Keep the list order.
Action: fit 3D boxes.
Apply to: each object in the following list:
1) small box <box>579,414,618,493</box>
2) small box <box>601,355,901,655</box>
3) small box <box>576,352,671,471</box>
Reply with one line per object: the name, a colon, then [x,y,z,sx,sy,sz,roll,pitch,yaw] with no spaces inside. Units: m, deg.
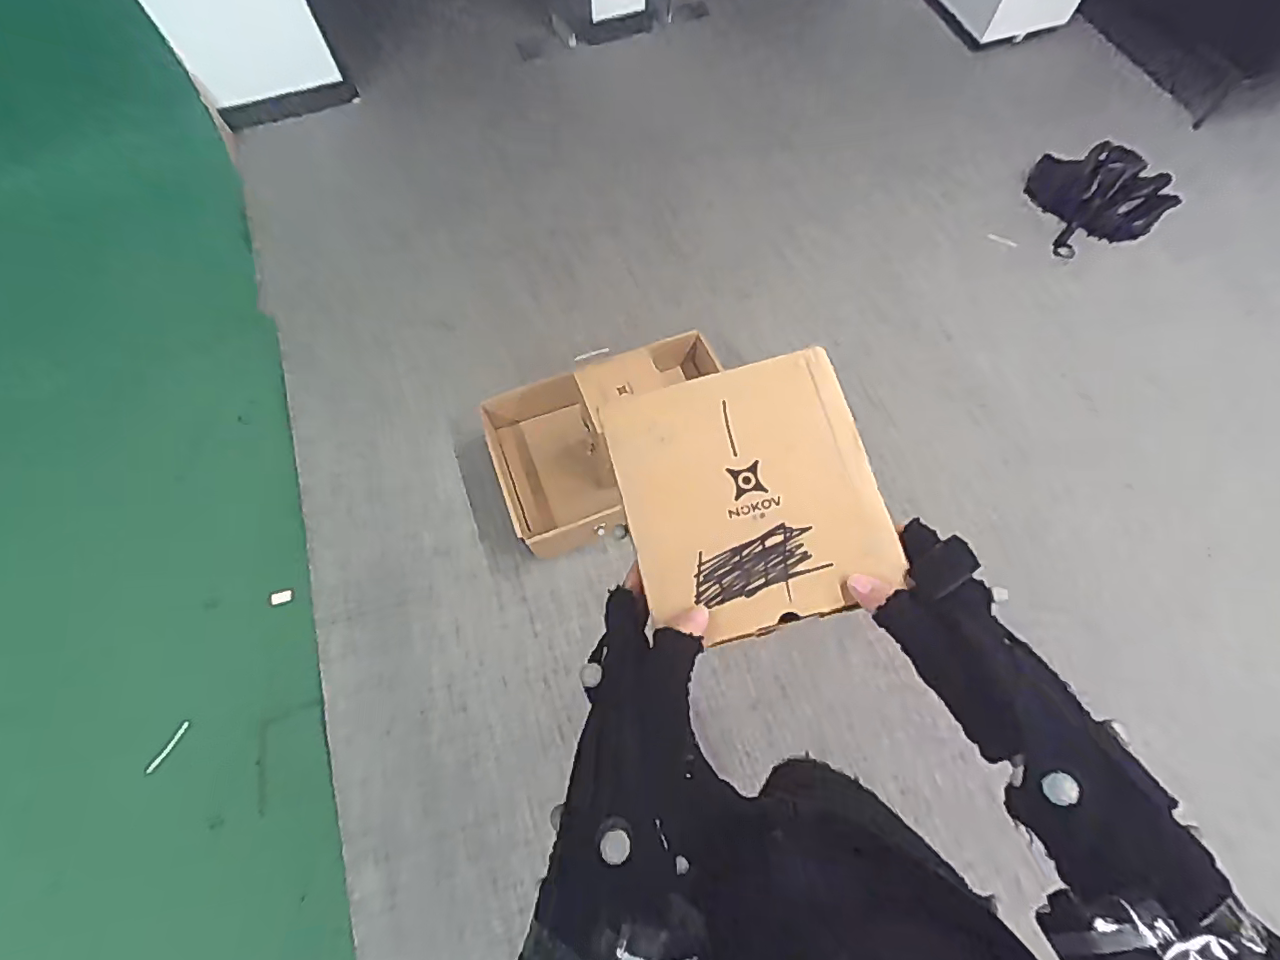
small box: [-0.037,-0.089,1.378,0.179,0.176,0.168,-22,67,-9]
small box: [0.075,0.029,0.443,0.168,0.176,0.179,-15,76,-1]
small box: [-0.028,-0.148,1.206,0.179,0.176,0.168,-23,68,-10]
